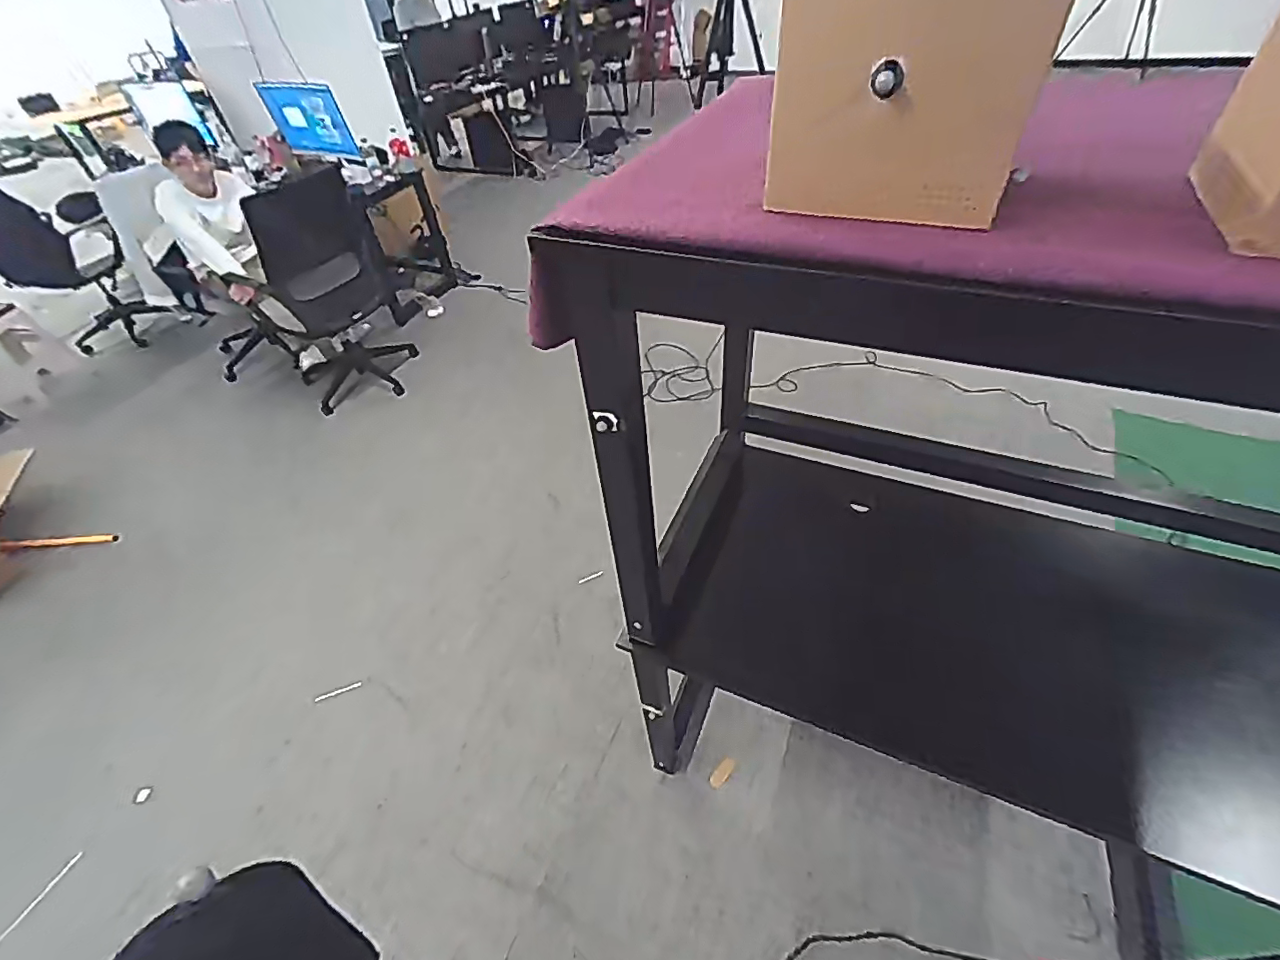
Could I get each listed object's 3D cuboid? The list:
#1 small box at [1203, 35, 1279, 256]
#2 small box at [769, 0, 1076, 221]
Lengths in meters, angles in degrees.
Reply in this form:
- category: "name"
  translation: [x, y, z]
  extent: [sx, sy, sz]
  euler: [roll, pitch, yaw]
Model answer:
- category: "small box"
  translation: [0.489, -0.236, 0.315]
  extent: [0.168, 0.176, 0.179]
  euler: [17, 50, 23]
- category: "small box"
  translation: [0.213, -0.320, 0.424]
  extent: [0.179, 0.176, 0.168]
  euler: [16, 49, 21]
